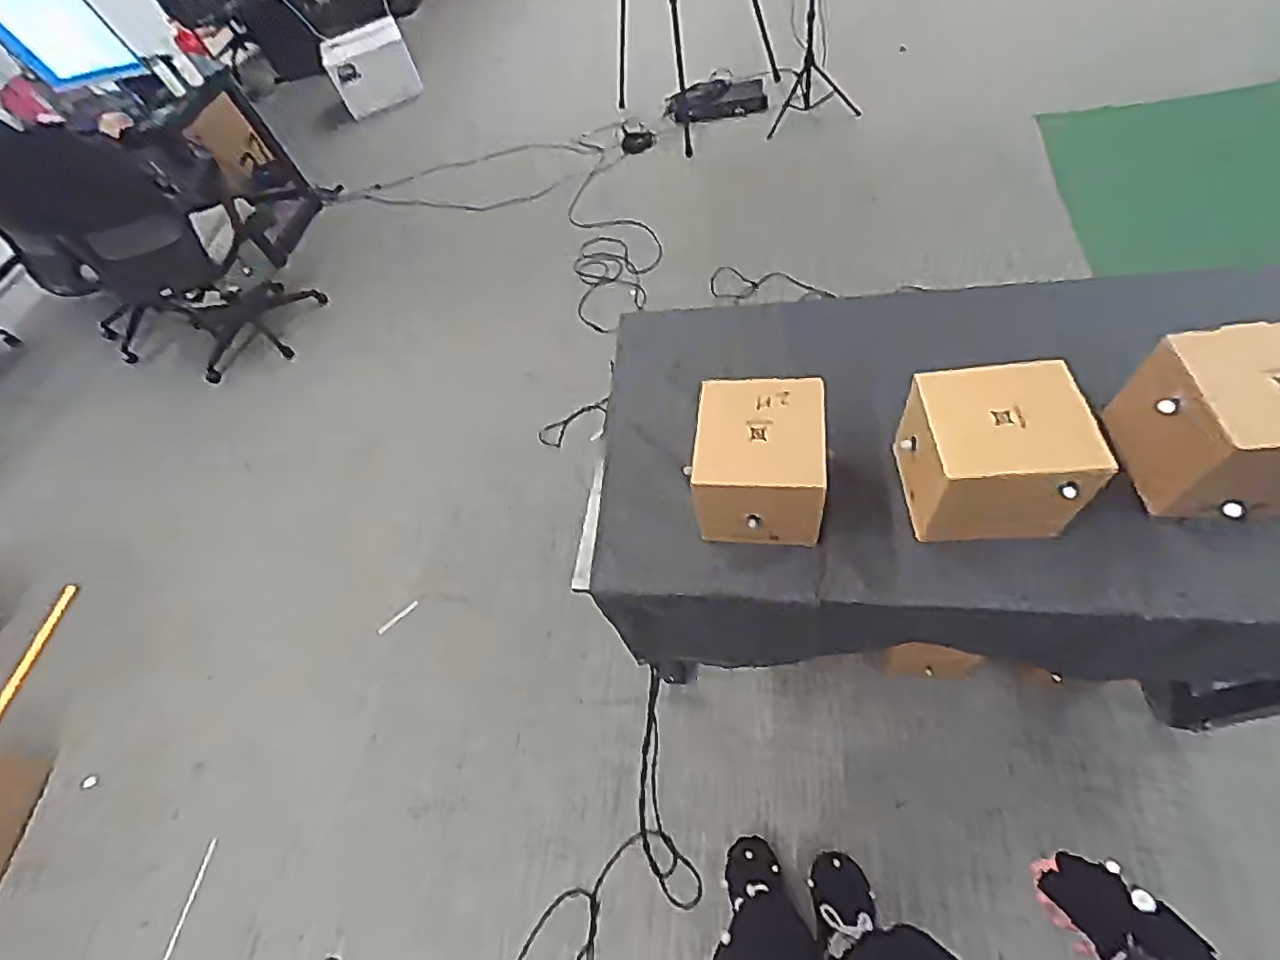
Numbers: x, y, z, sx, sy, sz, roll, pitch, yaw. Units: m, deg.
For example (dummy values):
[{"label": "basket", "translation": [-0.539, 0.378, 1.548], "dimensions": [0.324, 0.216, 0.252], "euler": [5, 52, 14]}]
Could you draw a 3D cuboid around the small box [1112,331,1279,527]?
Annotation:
[{"label": "small box", "translation": [0.732, -0.058, 0.659], "dimensions": [0.168, 0.176, 0.179], "euler": [-3, 58, 13]}]

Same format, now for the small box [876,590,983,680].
[{"label": "small box", "translation": [0.674, 0.369, 1.279], "dimensions": [0.179, 0.176, 0.168], "euler": [-2, 58, 13]}]

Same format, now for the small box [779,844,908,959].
[{"label": "small box", "translation": [0.391, 0.871, 1.041], "dimensions": [0.179, 0.176, 0.168], "euler": [-26, 25, -29]}]

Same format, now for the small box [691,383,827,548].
[{"label": "small box", "translation": [0.173, -0.016, 0.766], "dimensions": [0.168, 0.176, 0.179], "euler": [2, 59, 14]}]

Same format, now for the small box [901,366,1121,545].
[{"label": "small box", "translation": [0.456, -0.023, 0.705], "dimensions": [0.179, 0.176, 0.168], "euler": [-4, 57, 11]}]
